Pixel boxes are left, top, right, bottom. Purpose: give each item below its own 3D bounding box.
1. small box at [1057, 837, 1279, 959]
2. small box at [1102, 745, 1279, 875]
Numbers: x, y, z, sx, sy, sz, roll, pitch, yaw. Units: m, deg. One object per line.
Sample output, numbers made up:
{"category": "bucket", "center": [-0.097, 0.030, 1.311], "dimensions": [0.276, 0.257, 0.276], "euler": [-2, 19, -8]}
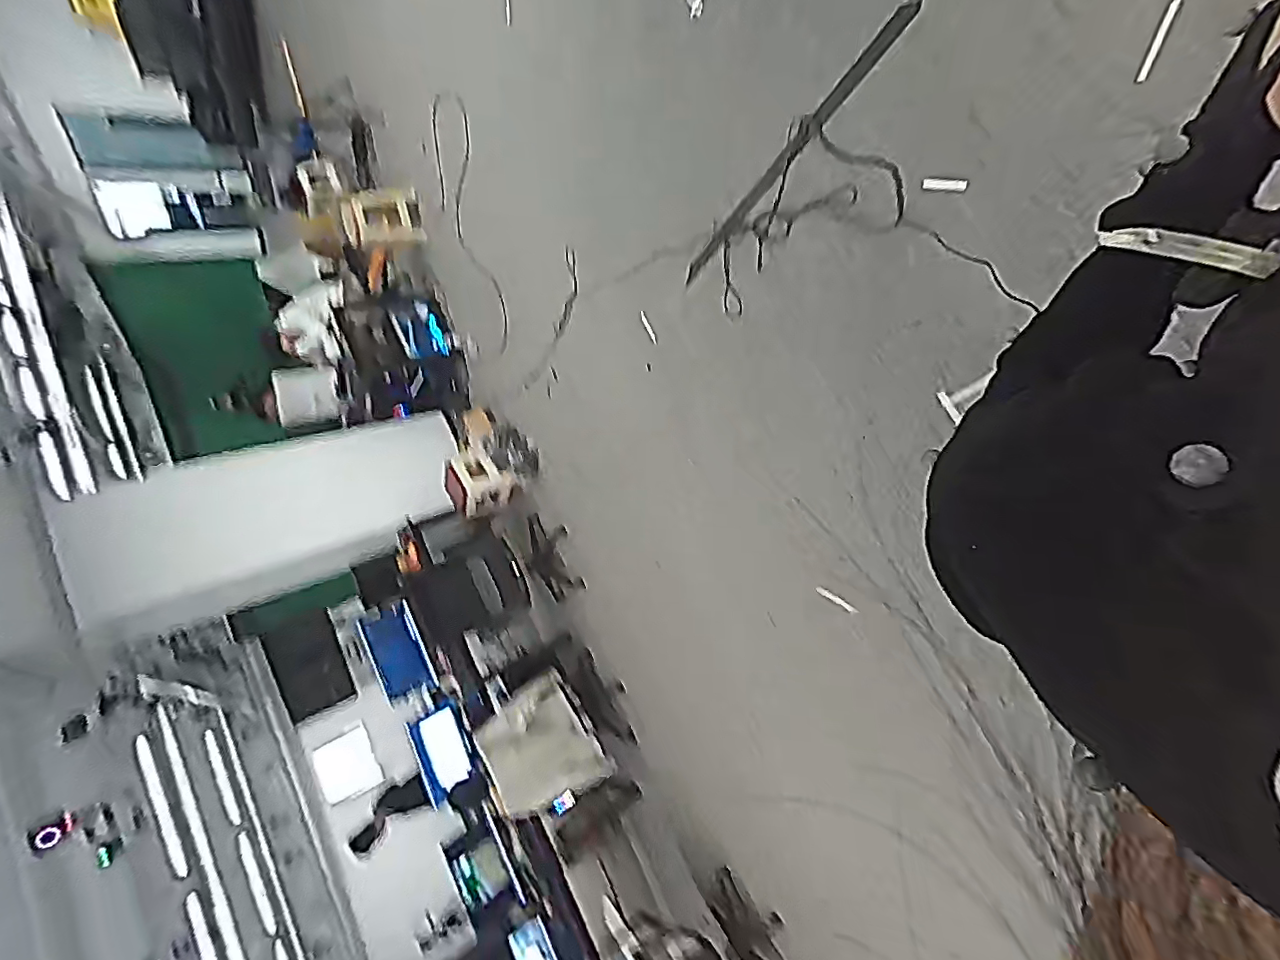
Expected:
{"category": "small box", "center": [0.507, 0.453, 0.462], "dimensions": [0.168, 0.176, 0.179], "euler": [-31, 83, 53]}
{"category": "small box", "center": [0.634, 0.407, 0.556], "dimensions": [0.168, 0.176, 0.179], "euler": [-33, 79, 53]}
